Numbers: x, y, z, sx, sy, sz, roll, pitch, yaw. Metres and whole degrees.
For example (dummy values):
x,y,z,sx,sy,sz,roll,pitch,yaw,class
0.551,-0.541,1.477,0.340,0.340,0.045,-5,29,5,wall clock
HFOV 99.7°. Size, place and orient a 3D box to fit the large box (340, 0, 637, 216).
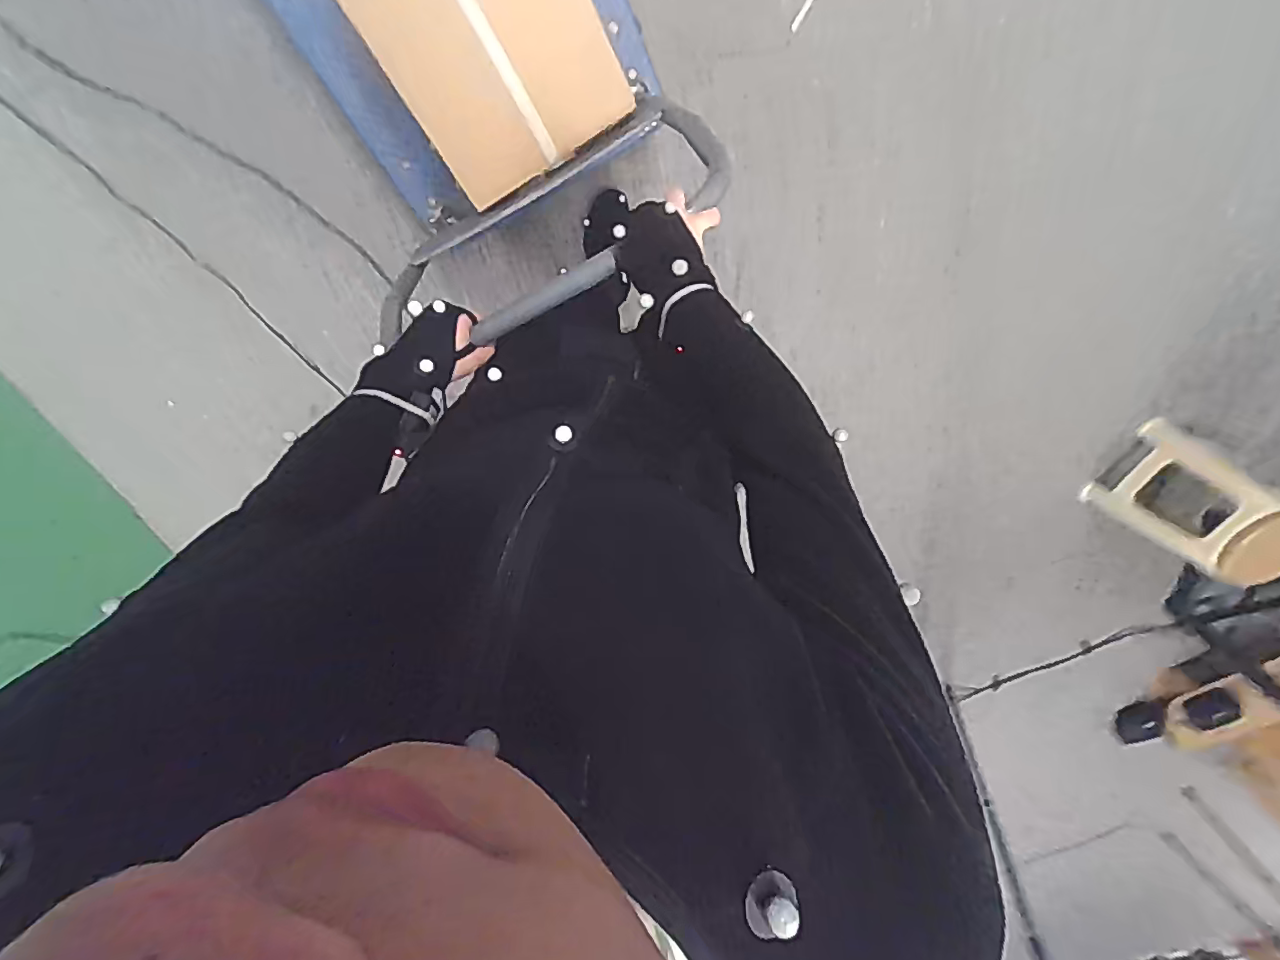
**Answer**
x,y,z,sx,sy,sz,roll,pitch,yaw,class
-0.241,-0.744,0.928,0.320,0.320,0.408,-27,123,12,large box
